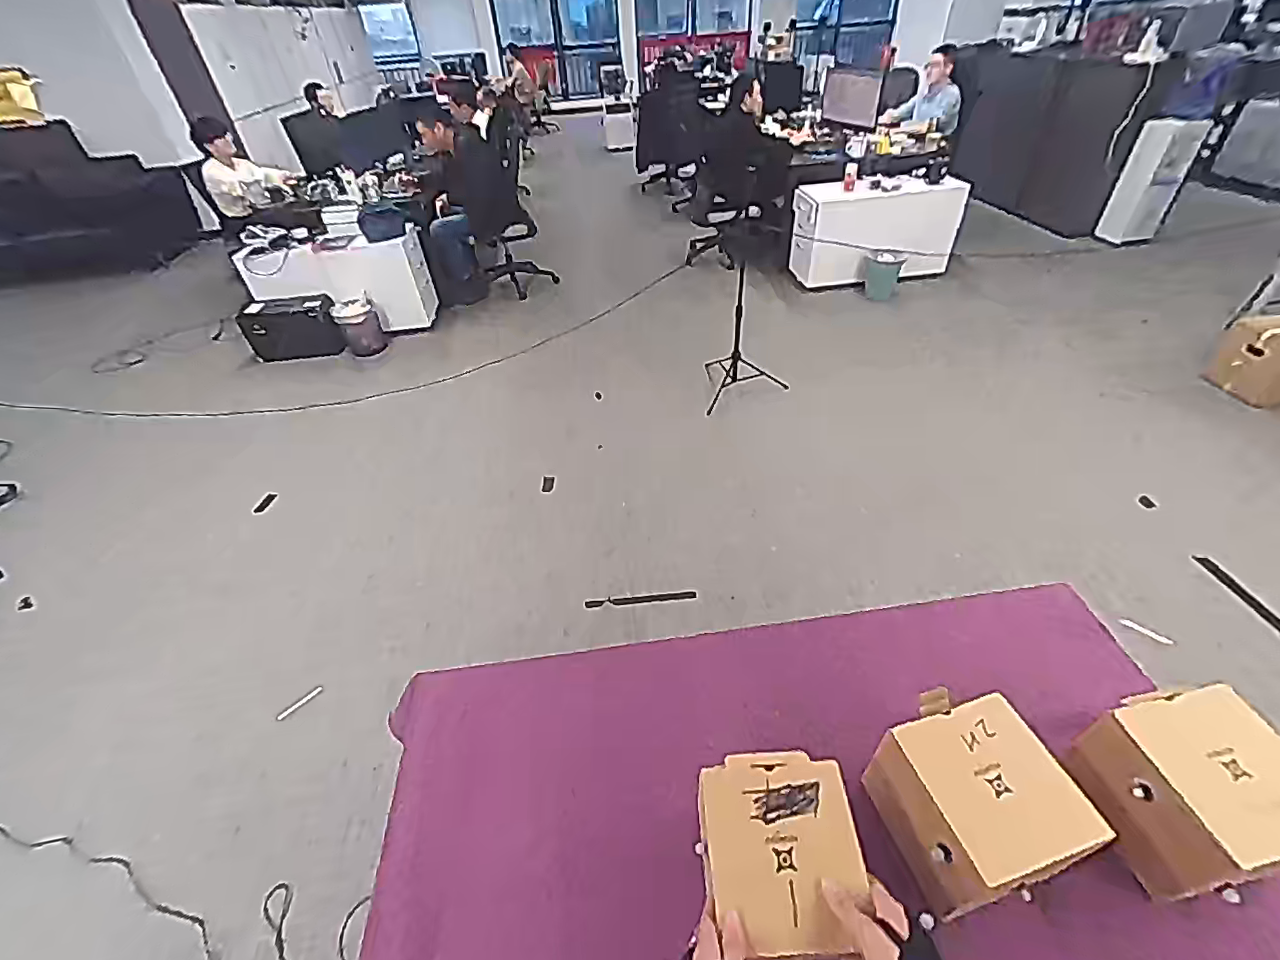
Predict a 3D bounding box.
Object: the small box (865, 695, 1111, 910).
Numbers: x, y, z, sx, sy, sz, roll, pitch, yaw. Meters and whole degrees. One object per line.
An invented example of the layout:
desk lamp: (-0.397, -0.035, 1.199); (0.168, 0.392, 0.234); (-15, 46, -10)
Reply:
small box: (0.420, 0.414, 0.690); (0.168, 0.176, 0.179); (-13, 41, -10)

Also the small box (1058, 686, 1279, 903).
small box: (0.692, 0.396, 0.686); (0.168, 0.176, 0.179); (-10, 41, -5)

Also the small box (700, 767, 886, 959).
small box: (0.162, 0.464, 0.646); (0.168, 0.176, 0.179); (-4, 47, 1)
